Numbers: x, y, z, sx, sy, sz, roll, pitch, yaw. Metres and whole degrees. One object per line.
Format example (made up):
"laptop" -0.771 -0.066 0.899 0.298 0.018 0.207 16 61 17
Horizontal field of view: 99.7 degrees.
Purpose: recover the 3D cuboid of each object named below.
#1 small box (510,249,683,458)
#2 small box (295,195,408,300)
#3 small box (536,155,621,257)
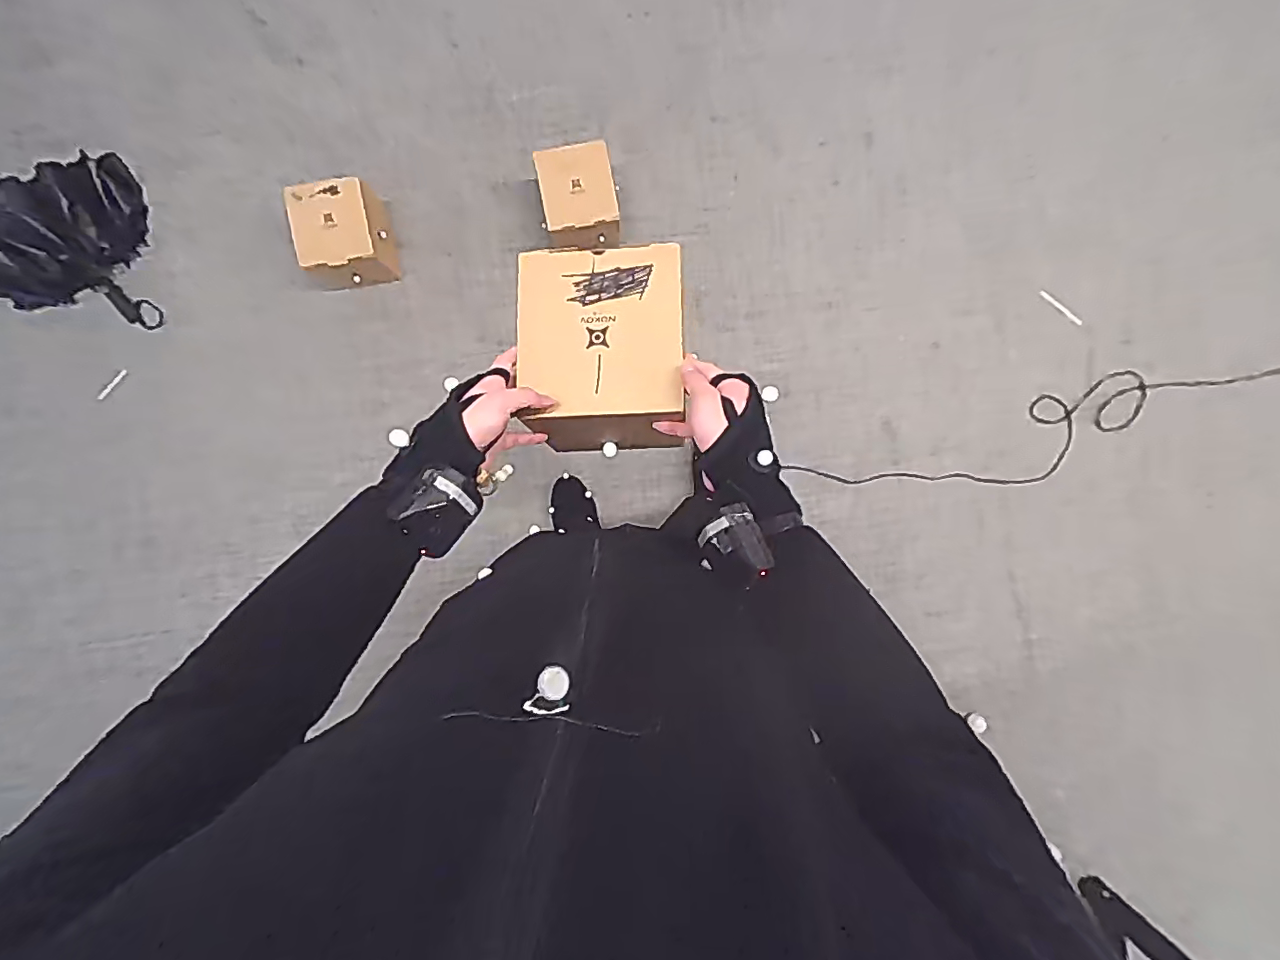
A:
"small box" -0.038 -0.130 0.609 0.168 0.176 0.179 -2 81 6
"small box" -0.674 -0.540 1.285 0.168 0.176 0.179 -11 93 -2
"small box" -0.140 -0.632 1.295 0.168 0.176 0.179 -13 91 -2
